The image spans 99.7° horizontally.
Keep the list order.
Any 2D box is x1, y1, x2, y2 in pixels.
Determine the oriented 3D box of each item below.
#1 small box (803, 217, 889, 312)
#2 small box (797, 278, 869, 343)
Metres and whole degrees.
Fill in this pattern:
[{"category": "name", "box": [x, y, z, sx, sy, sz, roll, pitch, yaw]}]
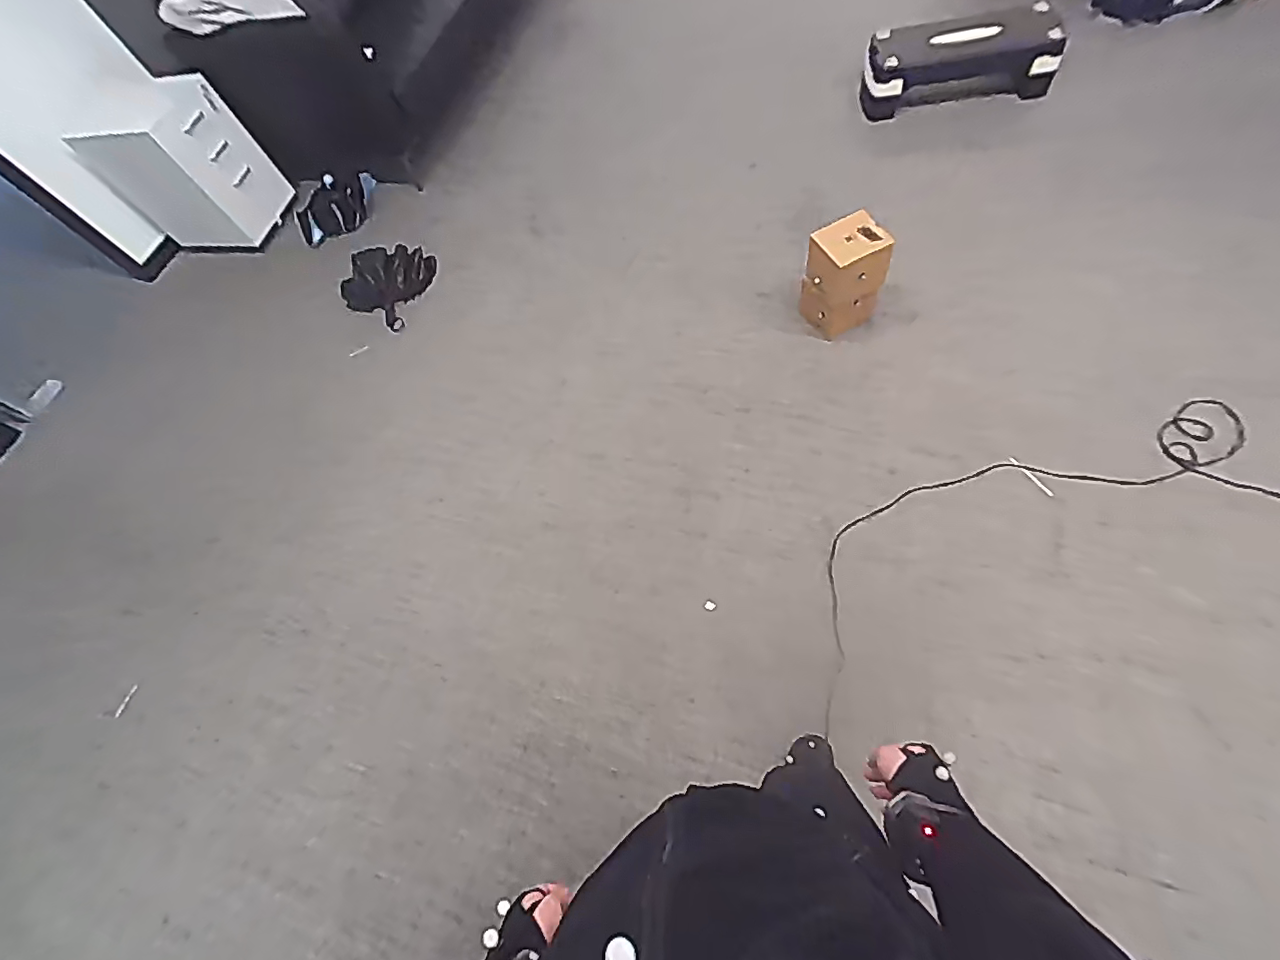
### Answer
[{"category": "small box", "box": [0.614, -0.647, 1.637, 0.179, 0.176, 0.168, -25, 61, 0]}, {"category": "small box", "box": [0.637, -0.589, 1.790, 0.179, 0.176, 0.168, -31, 62, -6]}]
